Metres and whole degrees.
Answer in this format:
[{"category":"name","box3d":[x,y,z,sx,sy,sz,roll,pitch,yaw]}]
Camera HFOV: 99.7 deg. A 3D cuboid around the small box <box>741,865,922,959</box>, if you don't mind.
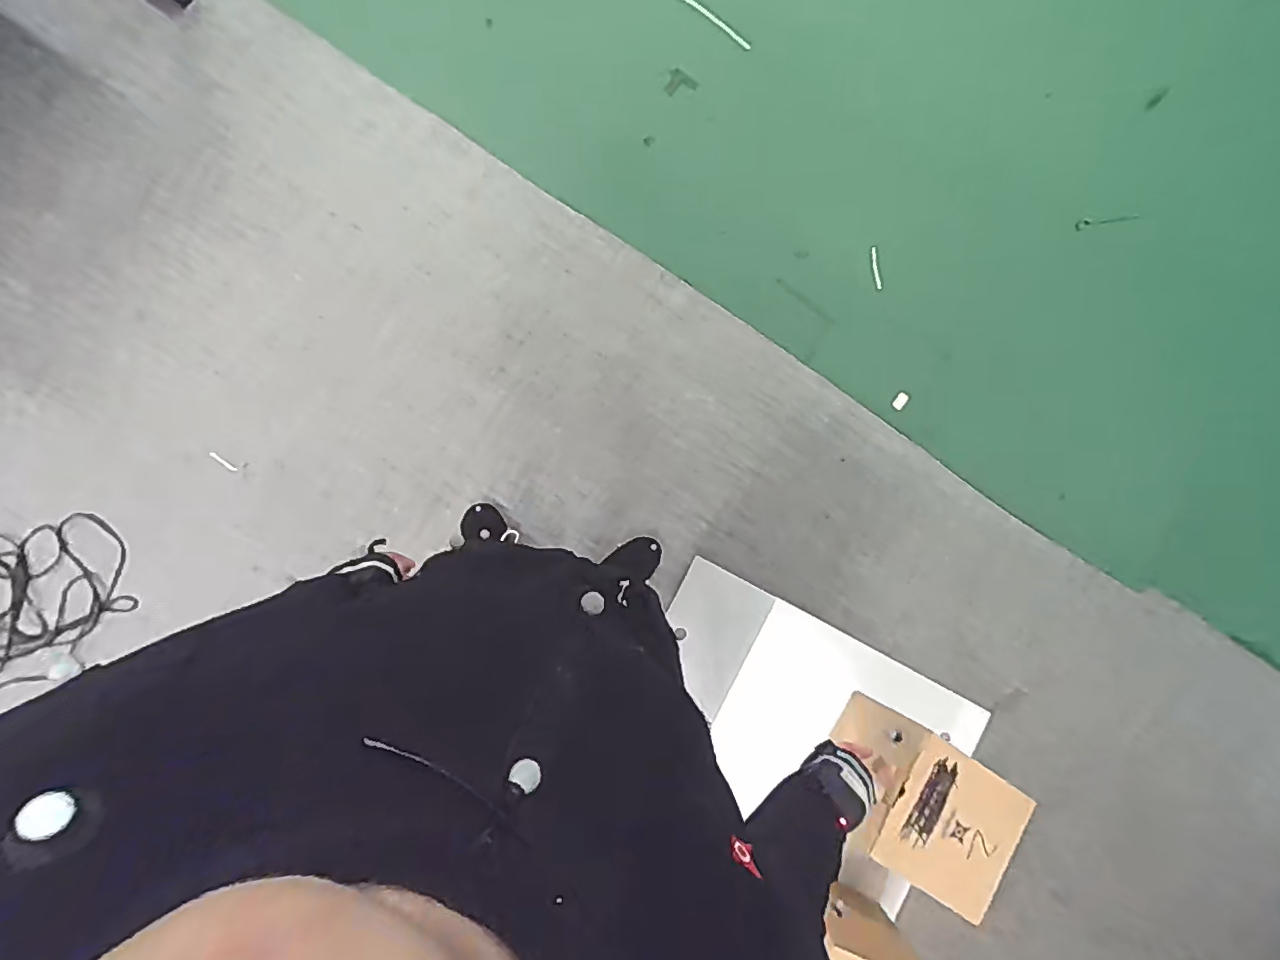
[{"category":"small box","box3d":[0.259,0.664,0.719,0.179,0.176,0.168,29,86,-6]}]
